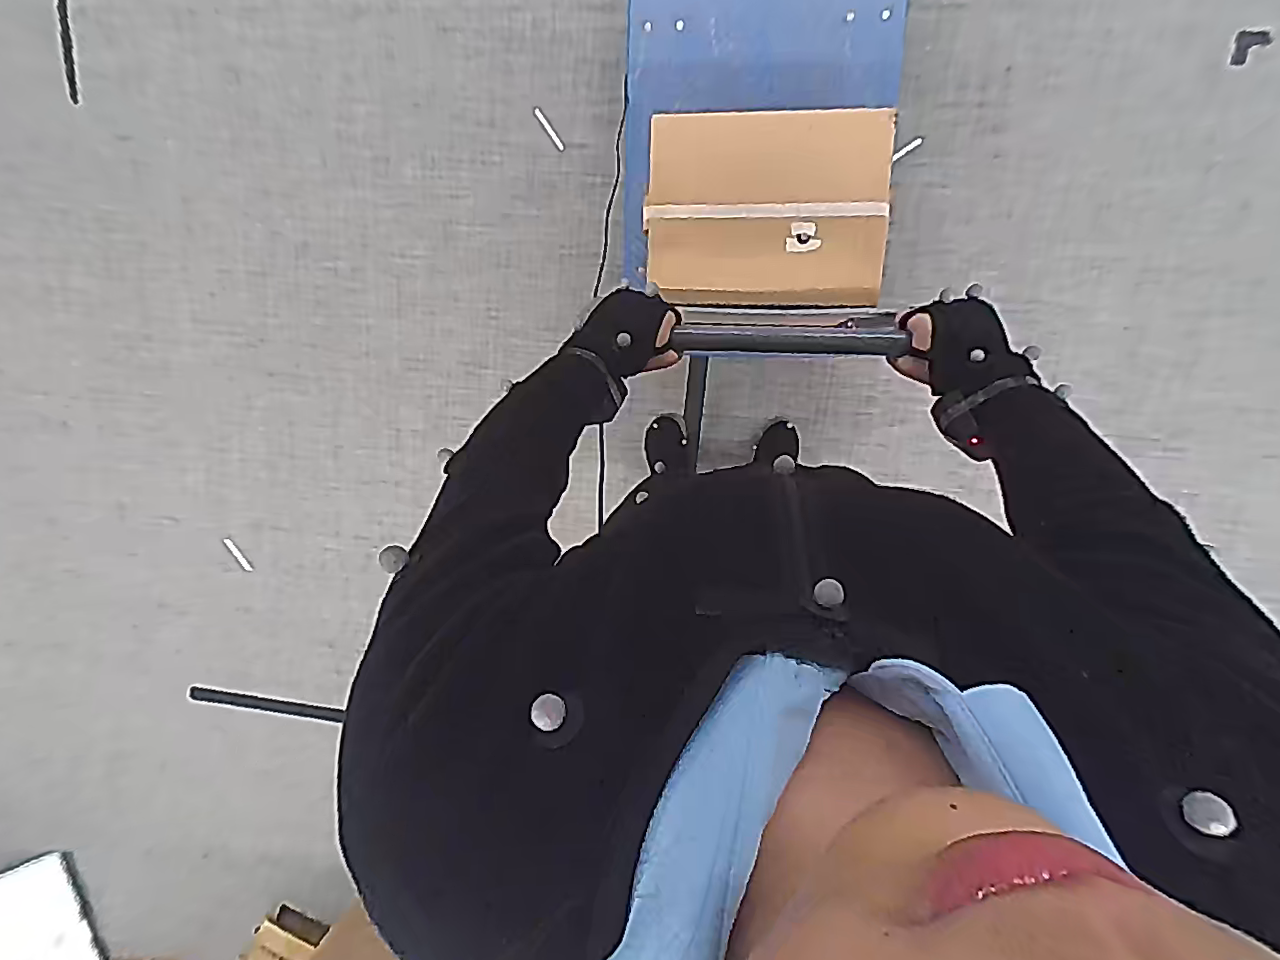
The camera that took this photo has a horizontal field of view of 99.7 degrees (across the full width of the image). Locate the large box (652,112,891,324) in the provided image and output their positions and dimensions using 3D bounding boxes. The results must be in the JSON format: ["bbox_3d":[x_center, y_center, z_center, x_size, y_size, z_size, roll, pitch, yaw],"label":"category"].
[{"bbox_3d":[0.234,-0.493,1.090,0.408,0.320,0.320,2,101,6],"label":"large box"}]
